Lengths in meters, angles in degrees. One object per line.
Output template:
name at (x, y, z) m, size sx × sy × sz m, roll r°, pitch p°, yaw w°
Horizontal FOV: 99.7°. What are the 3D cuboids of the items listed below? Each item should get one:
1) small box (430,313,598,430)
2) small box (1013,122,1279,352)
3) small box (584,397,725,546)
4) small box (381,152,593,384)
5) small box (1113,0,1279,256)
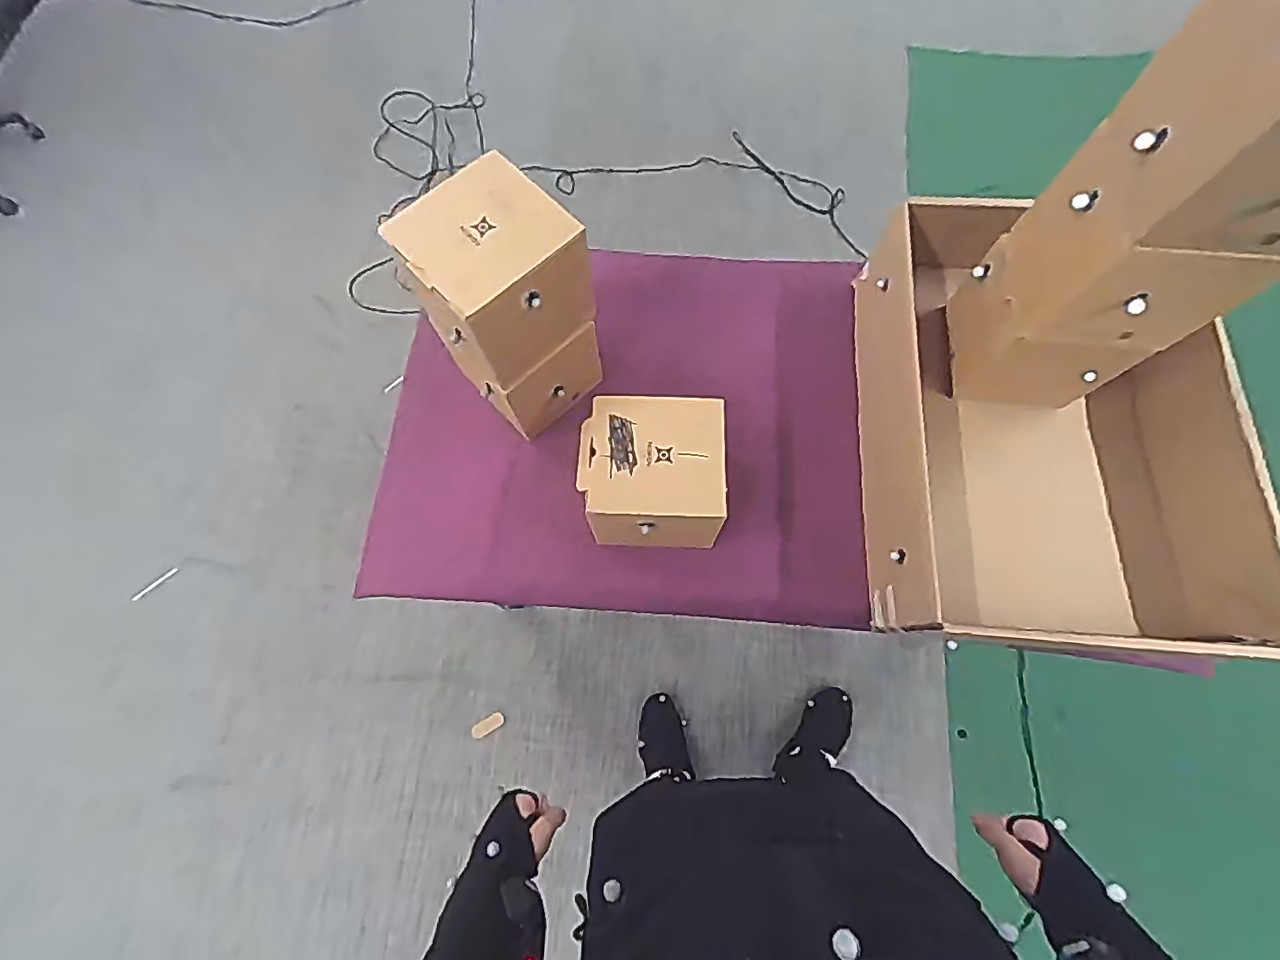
small box at (-0.180, -0.199, 0.836) m, size 0.168 × 0.176 × 0.179 m, roll -42°, pitch 76°, yaw -13°
small box at (0.564, -0.266, 0.618) m, size 0.168 × 0.176 × 0.179 m, roll 6°, pitch 72°, yaw 4°
small box at (0.023, -0.005, 0.765) m, size 0.179 × 0.176 × 0.168 m, roll 2°, pitch 71°, yaw 1°
small box at (-0.176, -0.254, 0.682) m, size 0.179 × 0.176 × 0.168 m, roll -42°, pitch 77°, yaw -12°
small box at (0.560, -0.317, 0.462) m, size 0.168 × 0.176 × 0.179 m, roll 6°, pitch 73°, yaw 4°
